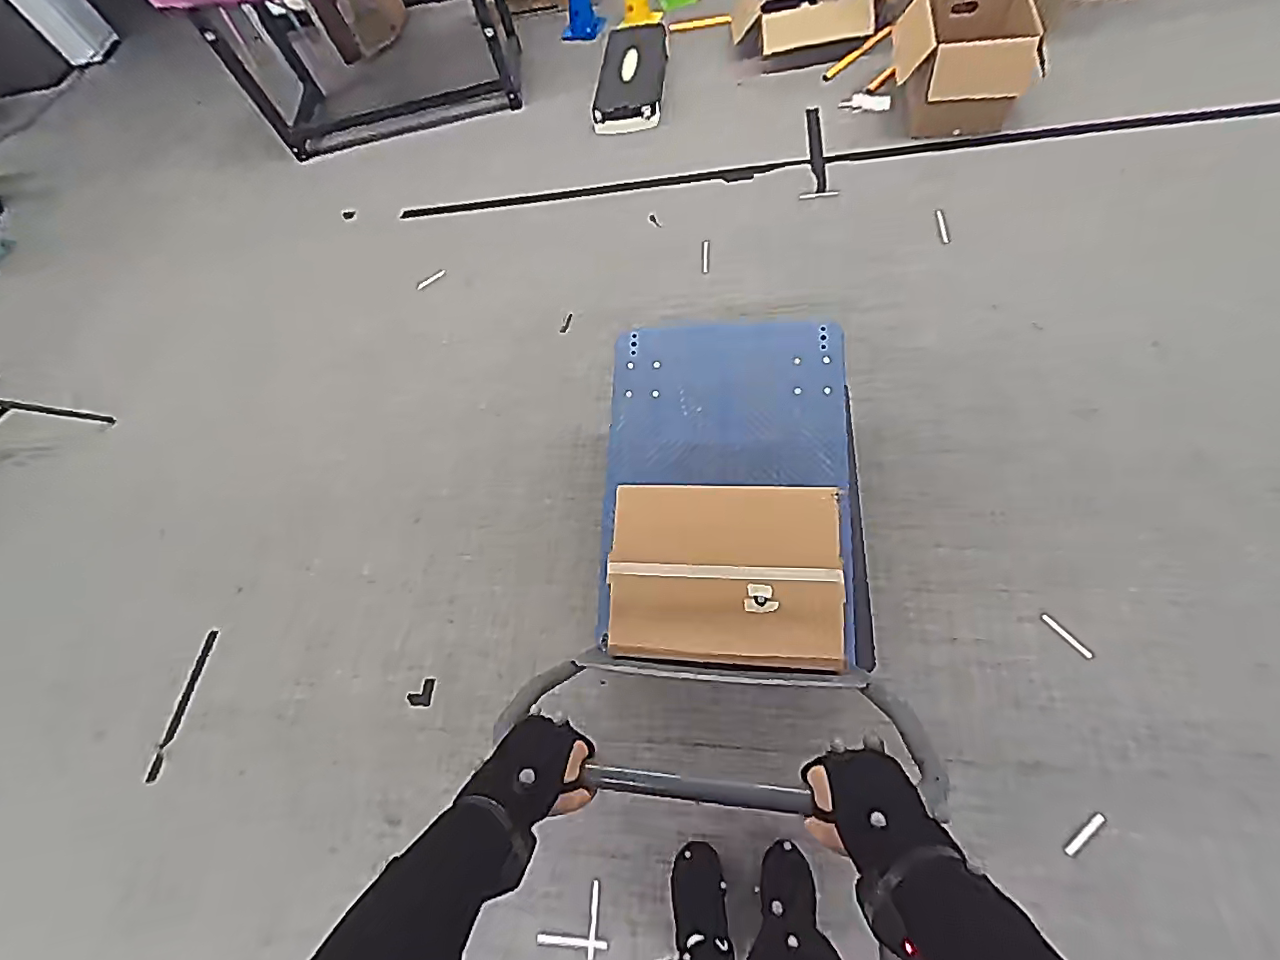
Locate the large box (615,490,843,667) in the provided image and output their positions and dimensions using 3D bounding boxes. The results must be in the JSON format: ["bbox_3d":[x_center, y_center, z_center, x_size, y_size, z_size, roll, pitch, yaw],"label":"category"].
[{"bbox_3d":[0.174,0.206,1.120,0.408,0.320,0.320,0,77,10],"label":"large box"}]
